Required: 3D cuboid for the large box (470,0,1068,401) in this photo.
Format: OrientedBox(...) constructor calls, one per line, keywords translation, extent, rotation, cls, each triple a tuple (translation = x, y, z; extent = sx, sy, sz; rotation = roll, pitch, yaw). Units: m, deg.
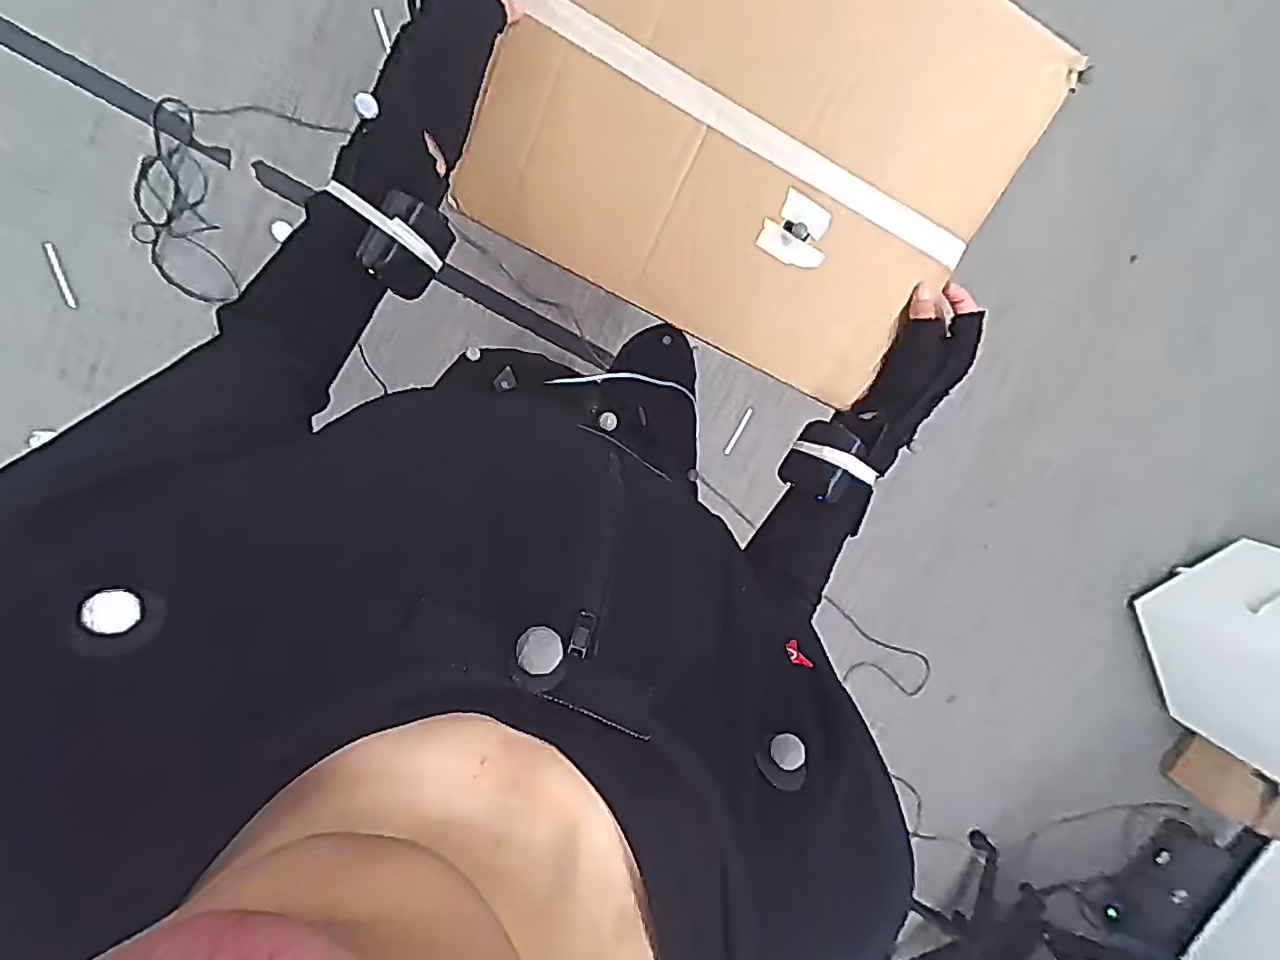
OrientedBox(translation=(0.092, -0.336, 0.577), extent=(0.408, 0.320, 0.320), rotation=(25, 110, -12), cls="large box")
